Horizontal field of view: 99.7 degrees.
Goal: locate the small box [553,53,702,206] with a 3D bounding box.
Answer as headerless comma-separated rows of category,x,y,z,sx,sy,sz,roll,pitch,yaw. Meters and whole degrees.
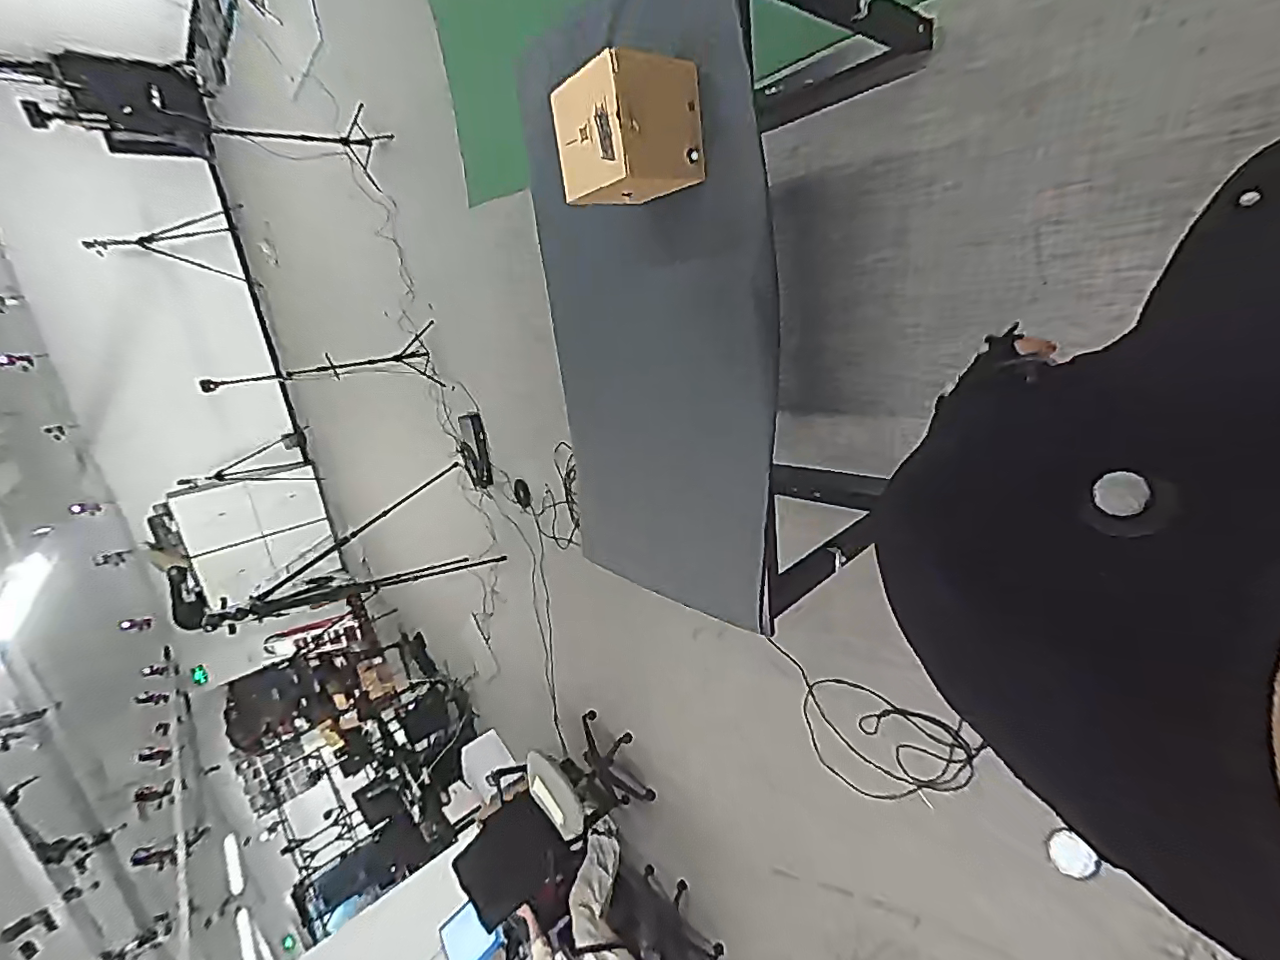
small box,-0.013,-0.555,0.879,0.179,0.176,0.168,15,119,50
